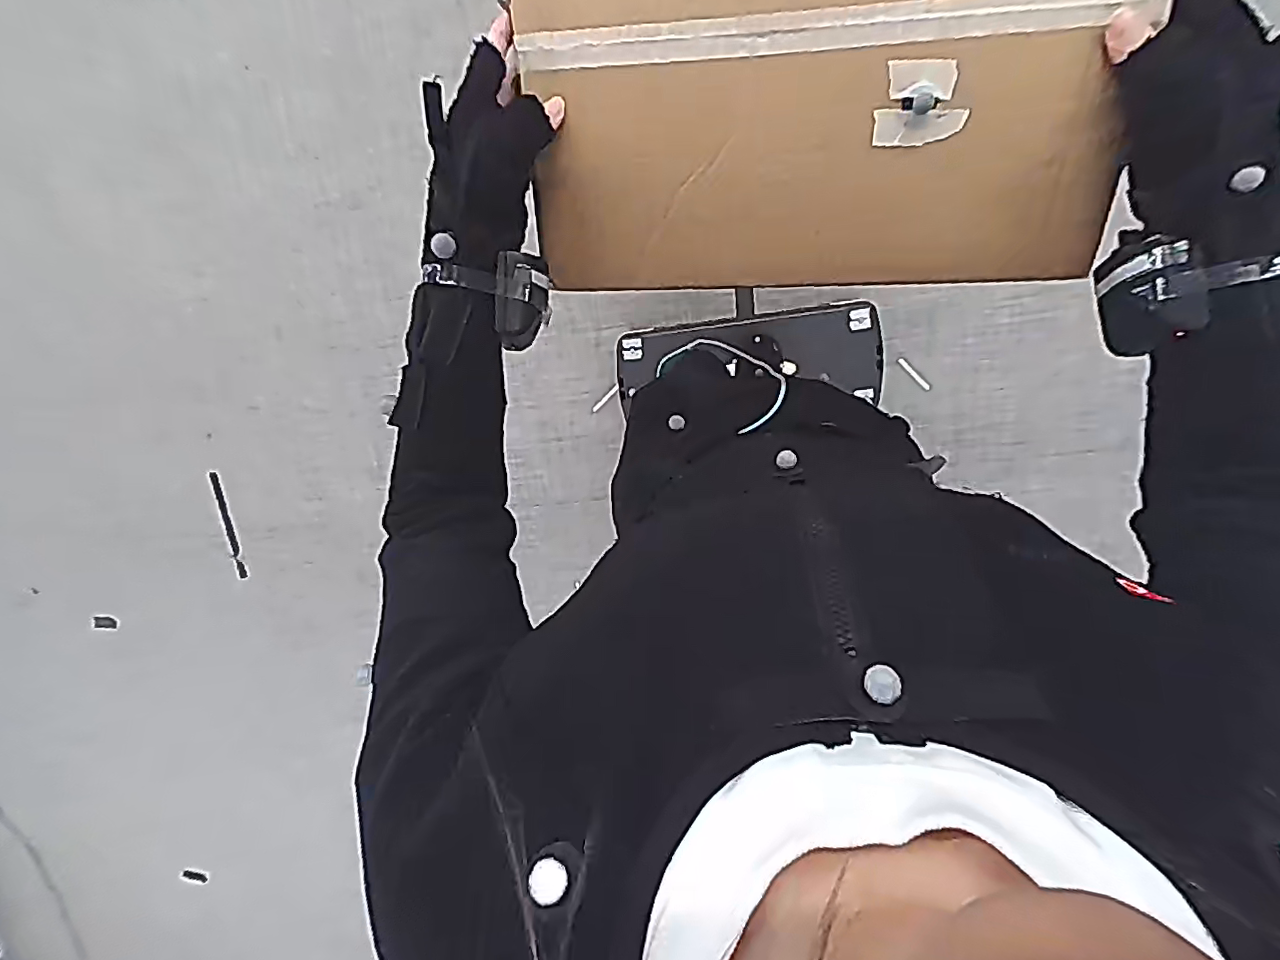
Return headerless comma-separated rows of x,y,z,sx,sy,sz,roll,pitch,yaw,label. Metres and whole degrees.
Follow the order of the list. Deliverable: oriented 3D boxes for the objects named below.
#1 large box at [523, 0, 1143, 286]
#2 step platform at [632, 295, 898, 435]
0.133,-0.363,0.494,0.408,0.320,0.320,1,116,7,large box
0.321,-0.304,1.460,0.684,0.204,0.286,-6,105,9,step platform
